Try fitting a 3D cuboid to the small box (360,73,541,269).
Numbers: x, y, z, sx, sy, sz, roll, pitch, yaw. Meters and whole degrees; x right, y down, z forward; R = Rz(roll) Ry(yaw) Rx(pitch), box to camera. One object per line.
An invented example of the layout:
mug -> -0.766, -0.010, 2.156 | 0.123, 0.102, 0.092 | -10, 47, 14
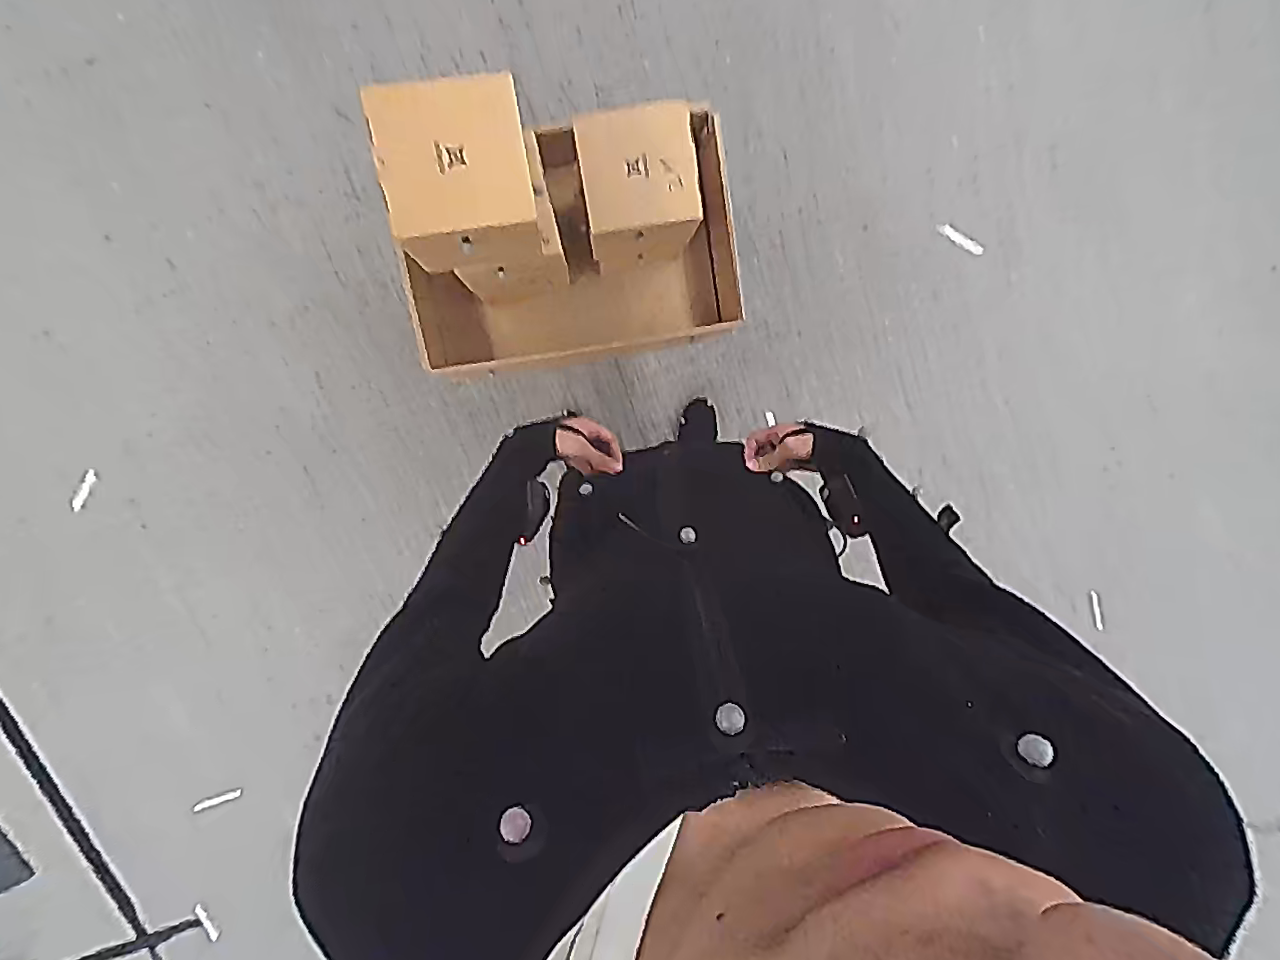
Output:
small box -> -0.229, -0.389, 0.708 | 0.179, 0.176, 0.168 | -11, 99, -5
